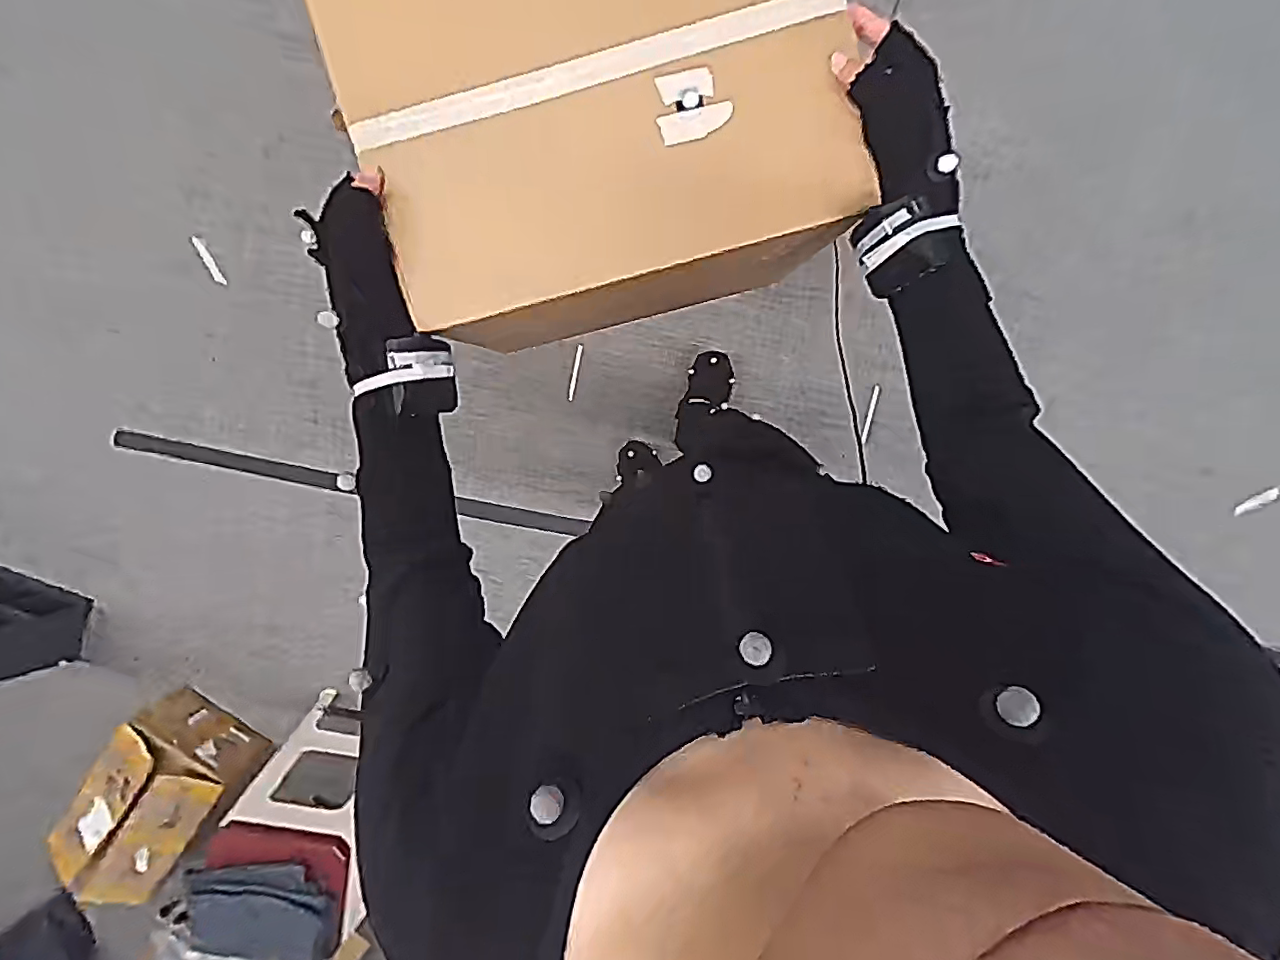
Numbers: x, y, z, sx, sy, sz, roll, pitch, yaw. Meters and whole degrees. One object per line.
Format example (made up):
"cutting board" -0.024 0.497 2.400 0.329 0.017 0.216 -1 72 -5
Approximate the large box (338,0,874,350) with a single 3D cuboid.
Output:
"large box" -0.028 -0.354 0.595 0.408 0.320 0.320 -14 100 1
